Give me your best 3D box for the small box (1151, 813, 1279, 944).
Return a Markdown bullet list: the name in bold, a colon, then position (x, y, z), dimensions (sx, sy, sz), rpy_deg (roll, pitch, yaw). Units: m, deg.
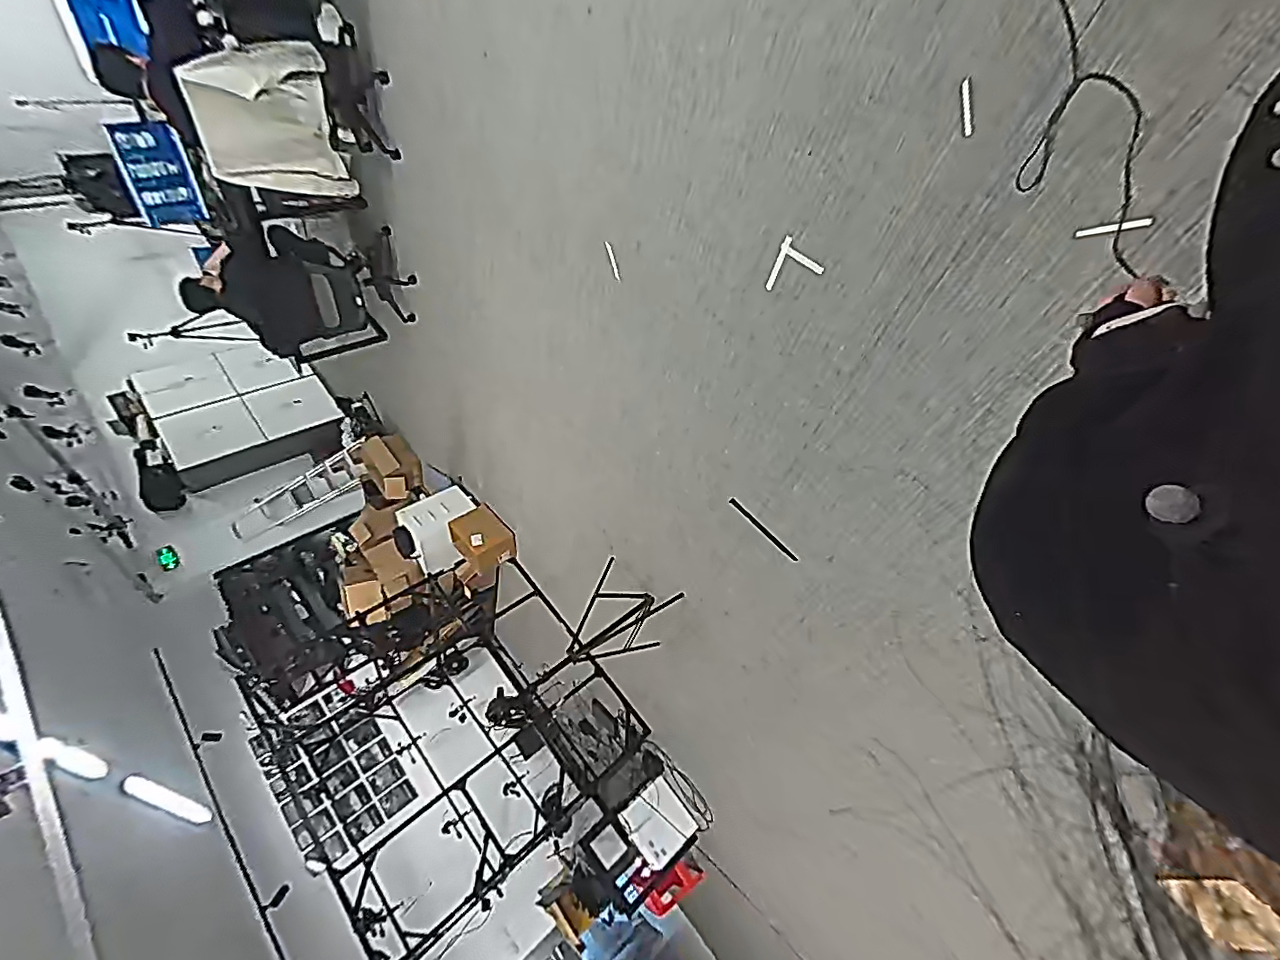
- **small box**: position (1.322, 0.885, 1.214), dimensions (0.168, 0.176, 0.179), rpy_deg (48, 144, 17)
